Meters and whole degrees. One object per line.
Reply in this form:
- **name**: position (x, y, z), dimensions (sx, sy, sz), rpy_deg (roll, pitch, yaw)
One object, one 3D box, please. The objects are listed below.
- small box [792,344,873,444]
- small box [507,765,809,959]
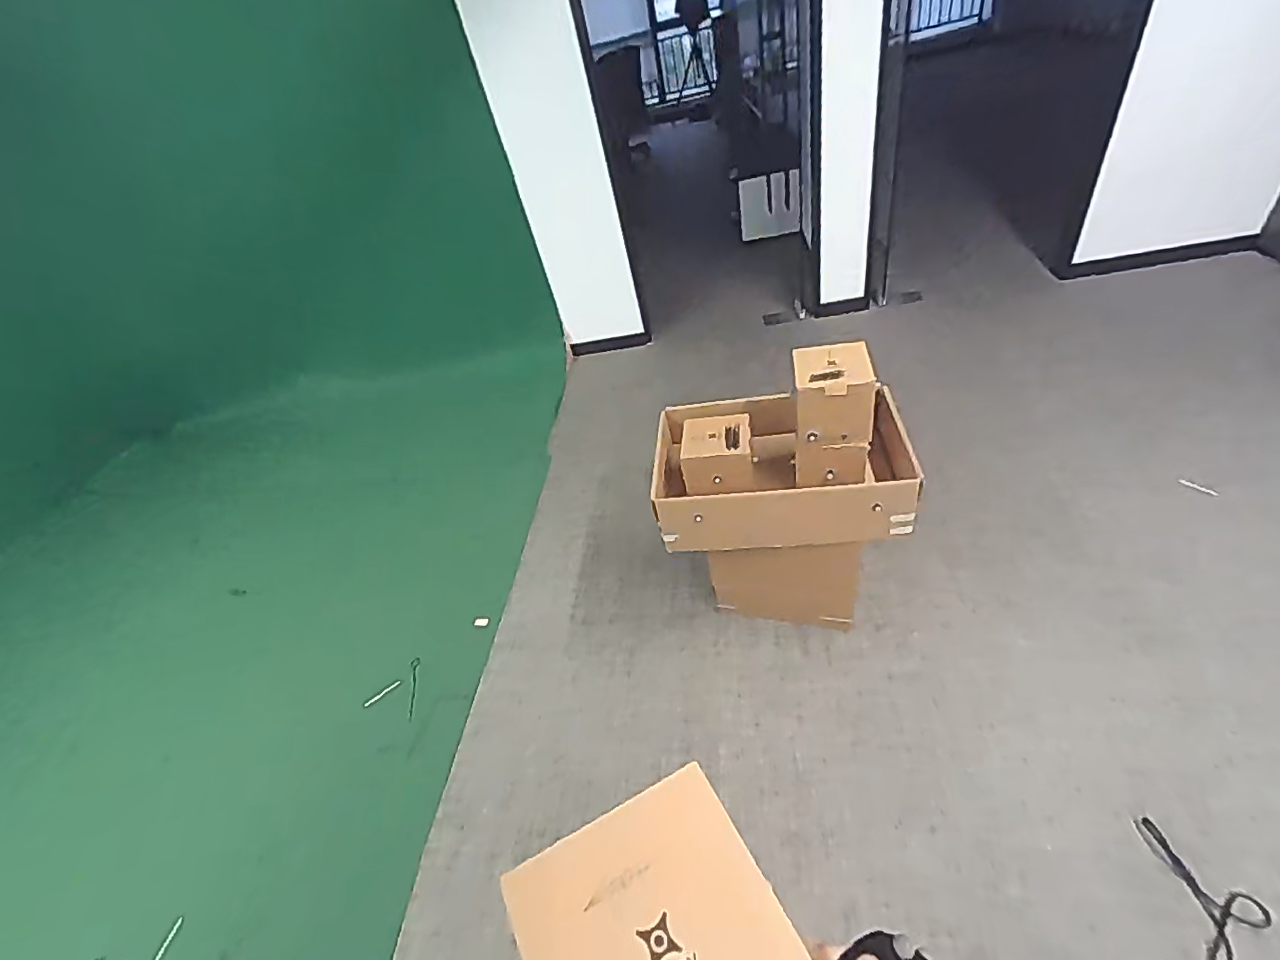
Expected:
- **small box**: position (0.451, -0.197, 1.283), dimensions (0.168, 0.176, 0.179), rpy_deg (-3, 42, 14)
- **small box**: position (0.014, 0.361, 0.405), dimensions (0.168, 0.176, 0.179), rpy_deg (-18, 46, -20)
